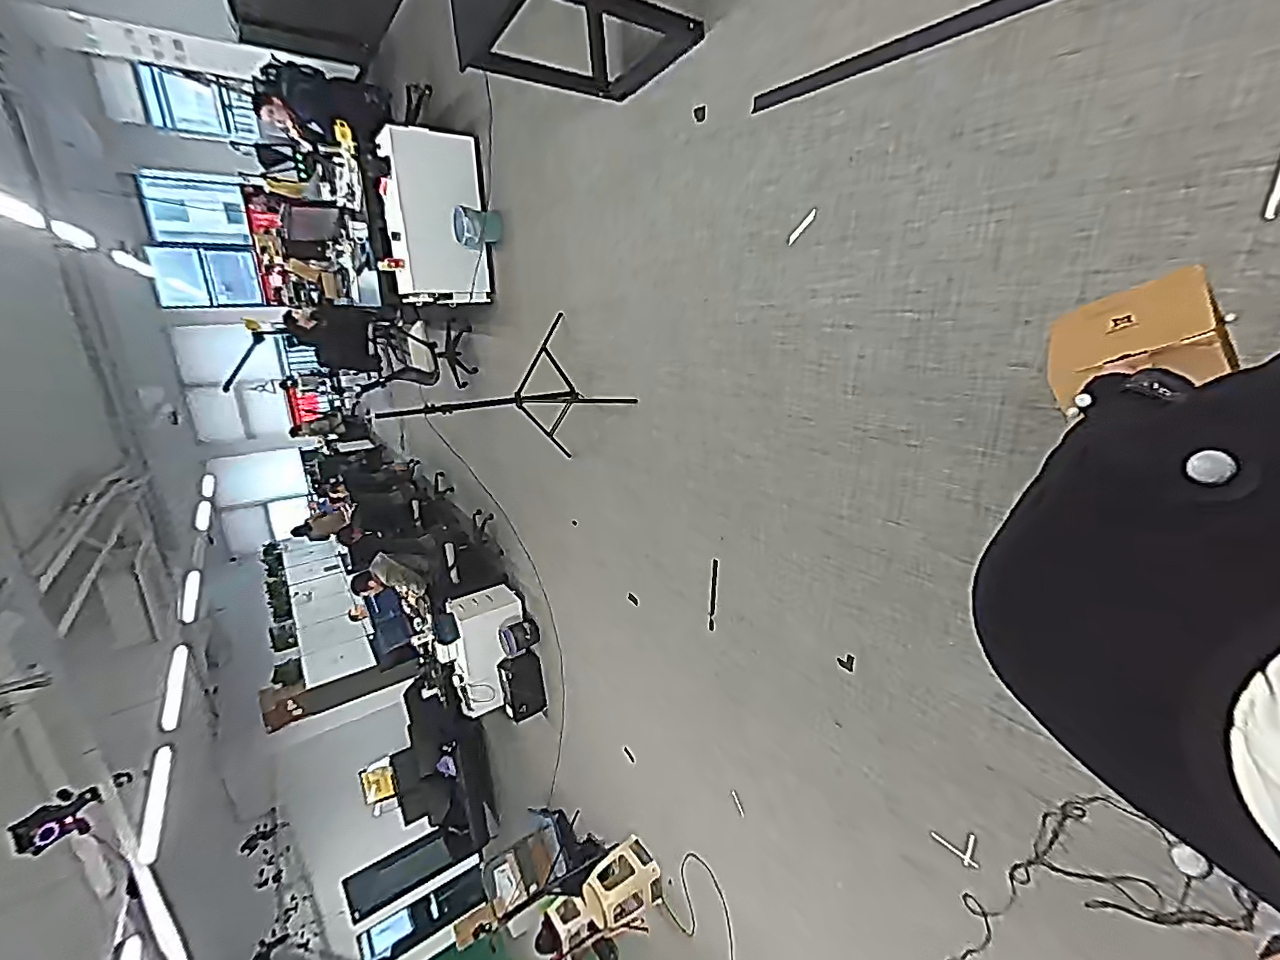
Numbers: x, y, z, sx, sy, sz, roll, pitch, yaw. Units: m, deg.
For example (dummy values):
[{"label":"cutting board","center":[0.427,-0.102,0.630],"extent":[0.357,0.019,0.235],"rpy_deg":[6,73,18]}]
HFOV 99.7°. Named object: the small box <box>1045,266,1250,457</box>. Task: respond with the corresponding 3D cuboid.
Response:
[{"label":"small box","center":[0.695,-0.150,0.748],"extent":[0.176,0.179,0.168],"rpy_deg":[48,144,-19]}]
